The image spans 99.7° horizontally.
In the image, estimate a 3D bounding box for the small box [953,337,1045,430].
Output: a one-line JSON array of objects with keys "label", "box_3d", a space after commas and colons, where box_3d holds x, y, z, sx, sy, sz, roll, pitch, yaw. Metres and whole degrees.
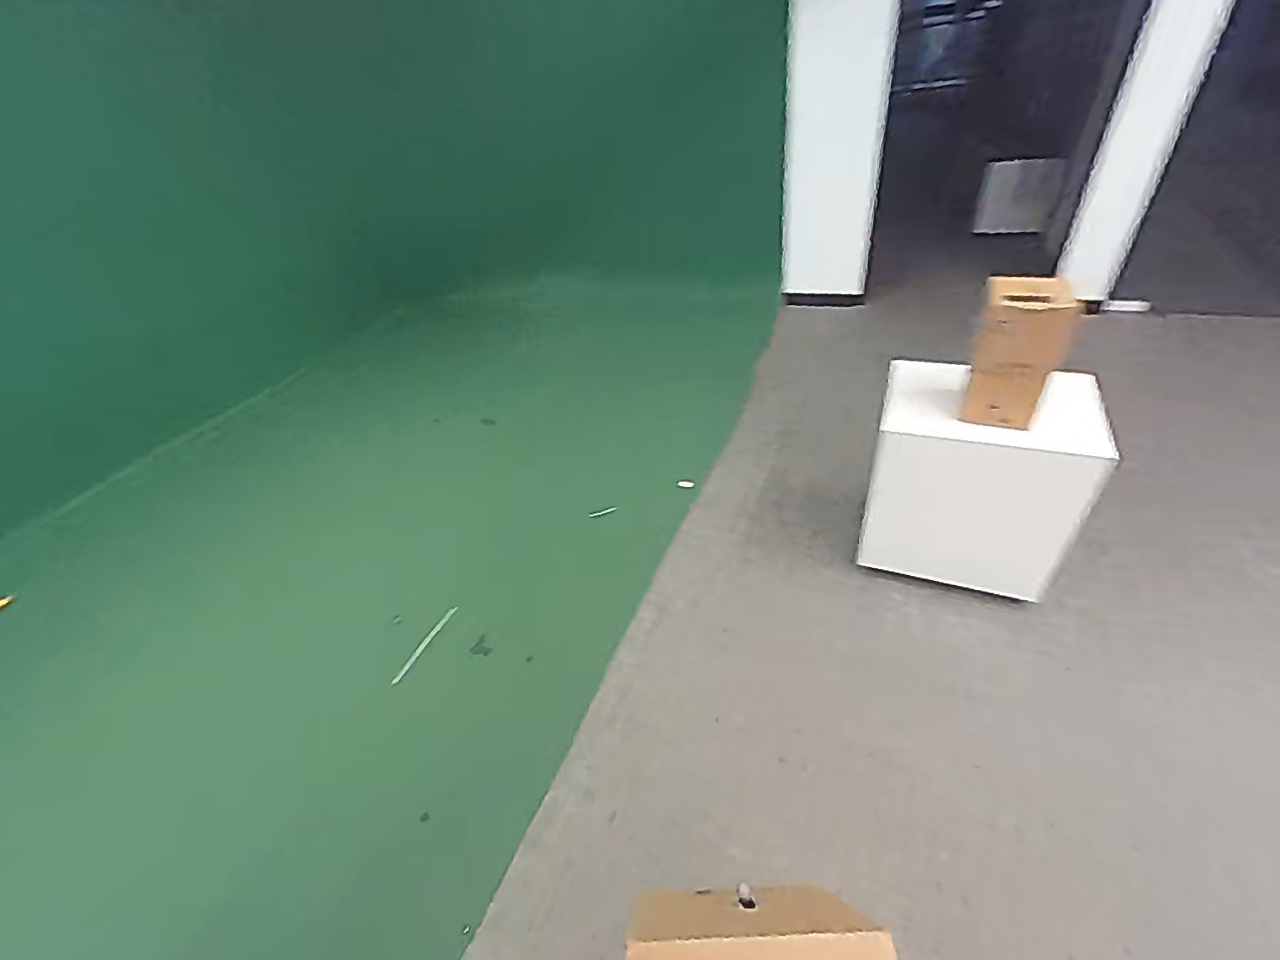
[{"label": "small box", "box_3d": [0.938, -0.256, 1.423, 0.168, 0.176, 0.179, 12, 43, 24]}]
